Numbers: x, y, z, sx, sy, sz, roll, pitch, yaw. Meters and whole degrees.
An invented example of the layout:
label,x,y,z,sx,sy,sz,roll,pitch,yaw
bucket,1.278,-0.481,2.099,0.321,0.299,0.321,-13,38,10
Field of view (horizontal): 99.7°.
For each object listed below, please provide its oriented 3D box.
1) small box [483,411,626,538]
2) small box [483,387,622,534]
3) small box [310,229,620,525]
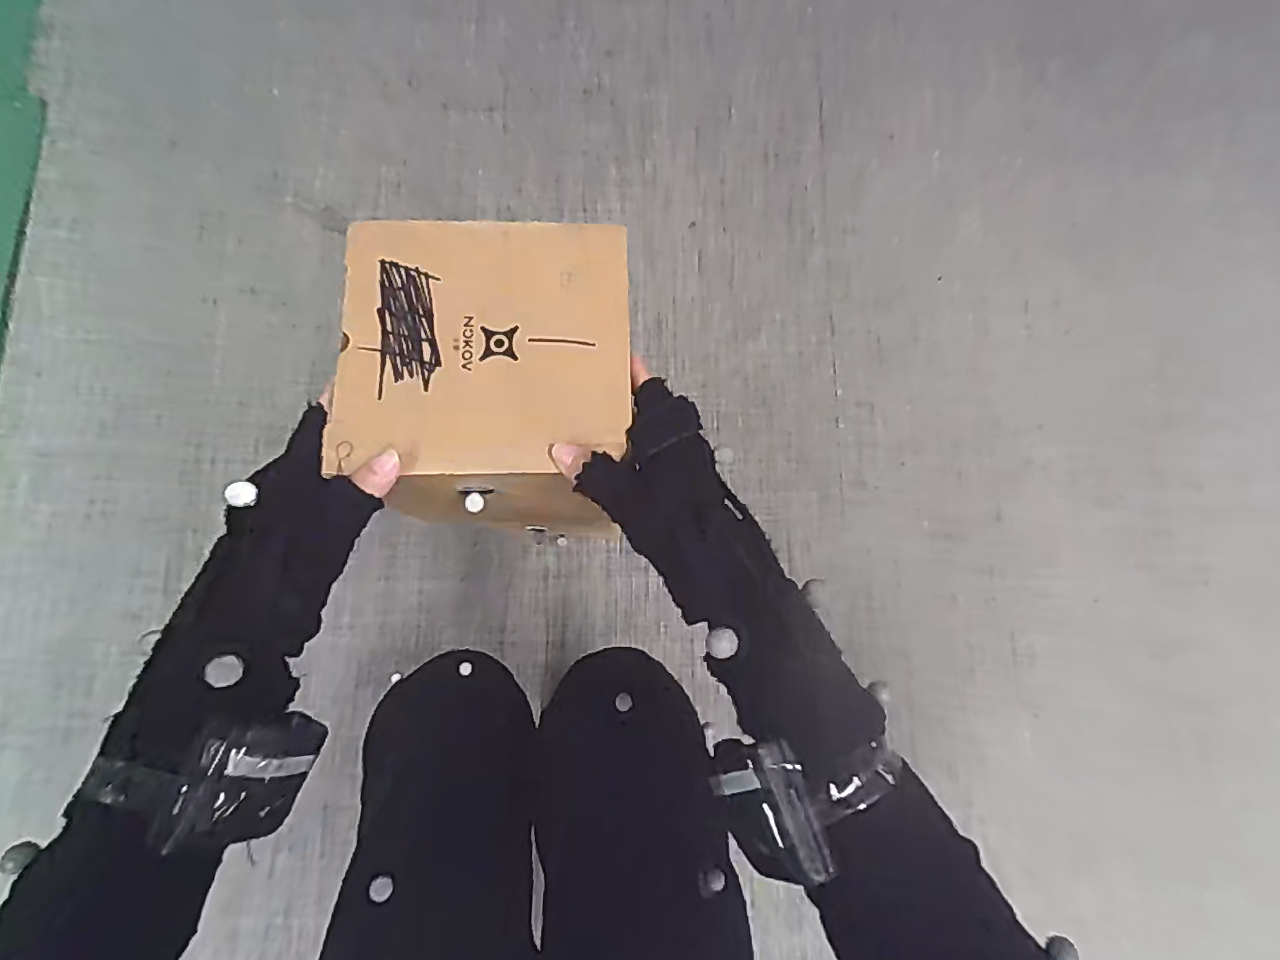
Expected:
label,x,y,z,sx,sy,sz,roll,pitch,yaw
small box,-0.111,-0.005,0.774,0.179,0.176,0.168,3,81,-1
small box,-0.107,-0.033,0.614,0.168,0.176,0.179,1,82,1
small box,-0.104,-0.060,0.403,0.179,0.176,0.168,-1,77,-3
